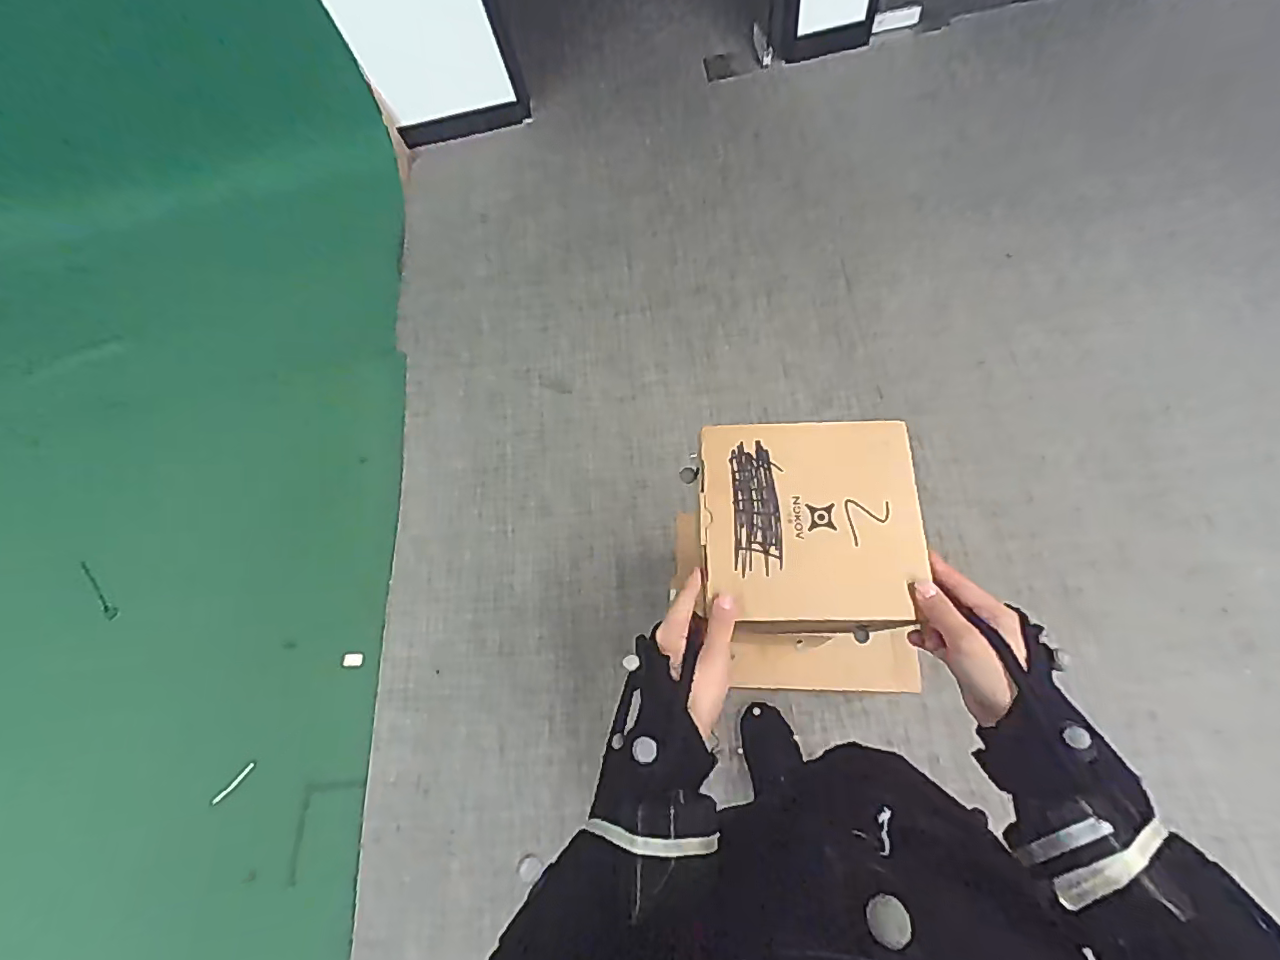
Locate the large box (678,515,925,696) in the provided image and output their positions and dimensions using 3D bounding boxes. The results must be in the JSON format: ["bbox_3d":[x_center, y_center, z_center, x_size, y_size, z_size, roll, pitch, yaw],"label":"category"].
[{"bbox_3d":[0.288,0.268,1.094,0.408,0.320,0.320,-2,69,7],"label":"large box"}]

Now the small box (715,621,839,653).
[{"bbox_3d":[0.211,0.185,0.876,0.179,0.176,0.168,-1,67,10],"label":"small box"}]

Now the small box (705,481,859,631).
[{"bbox_3d":[0.181,0.110,0.734,0.179,0.176,0.168,-1,67,8],"label":"small box"}]
